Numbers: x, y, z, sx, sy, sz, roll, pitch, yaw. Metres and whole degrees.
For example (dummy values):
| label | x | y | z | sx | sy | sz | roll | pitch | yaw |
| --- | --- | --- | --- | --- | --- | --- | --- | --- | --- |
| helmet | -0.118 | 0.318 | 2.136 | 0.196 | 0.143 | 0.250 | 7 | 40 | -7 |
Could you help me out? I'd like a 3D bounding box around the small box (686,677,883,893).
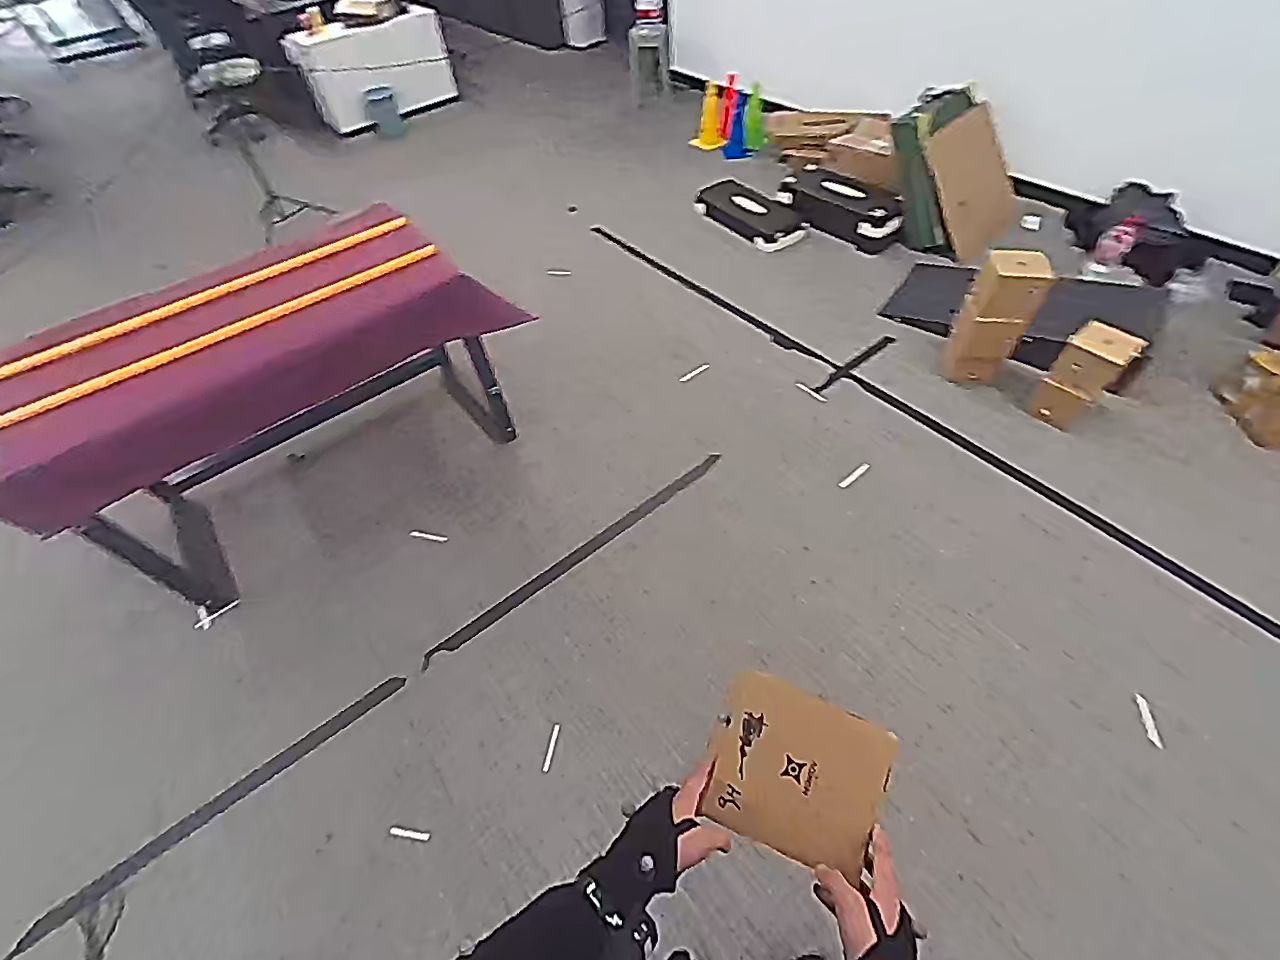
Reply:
| label | x | y | z | sx | sy | sz | roll | pitch | yaw |
| --- | --- | --- | --- | --- | --- | --- | --- | --- | --- |
| small box | 0.168 | 0.358 | 0.678 | 0.179 | 0.176 | 0.168 | 22 | 73 | 10 |
